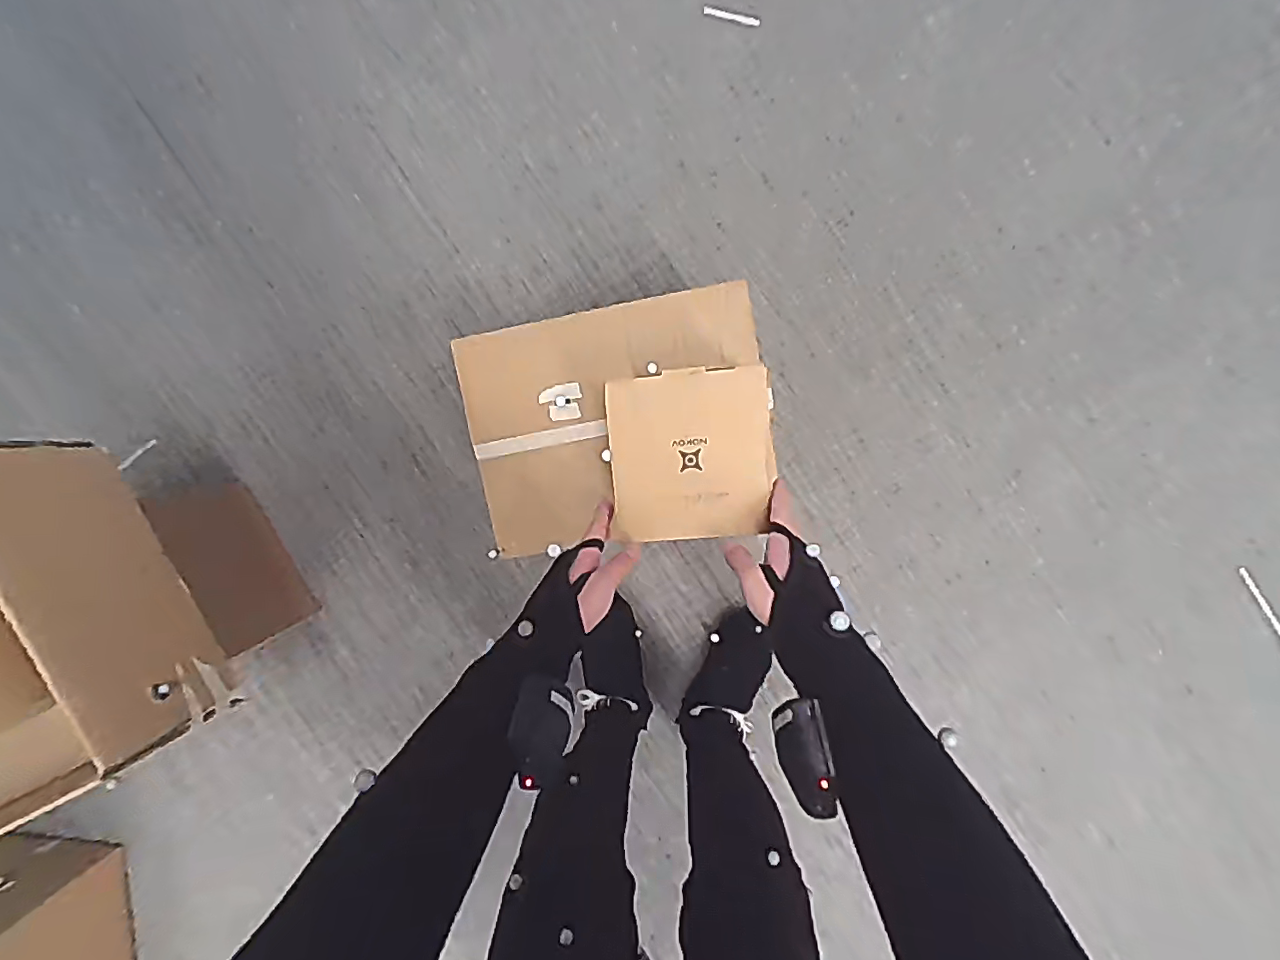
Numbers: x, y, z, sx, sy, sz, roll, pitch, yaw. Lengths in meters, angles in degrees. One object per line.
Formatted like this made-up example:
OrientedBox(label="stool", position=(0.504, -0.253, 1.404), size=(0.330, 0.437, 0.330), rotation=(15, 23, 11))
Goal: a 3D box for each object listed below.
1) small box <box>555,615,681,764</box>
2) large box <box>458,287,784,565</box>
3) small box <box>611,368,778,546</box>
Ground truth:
OrientedBox(label="small box", position=(-0.041, 0.384, 1.017), size=(0.179, 0.176, 0.168), rotation=(34, 94, 9))
OrientedBox(label="large box", position=(-0.014, -0.082, 0.876), size=(0.408, 0.320, 0.320), rotation=(-10, 95, 6))
OrientedBox(label="small box", position=(0.061, -0.030, 0.628), size=(0.168, 0.176, 0.179), rotation=(-4, 98, 5))
